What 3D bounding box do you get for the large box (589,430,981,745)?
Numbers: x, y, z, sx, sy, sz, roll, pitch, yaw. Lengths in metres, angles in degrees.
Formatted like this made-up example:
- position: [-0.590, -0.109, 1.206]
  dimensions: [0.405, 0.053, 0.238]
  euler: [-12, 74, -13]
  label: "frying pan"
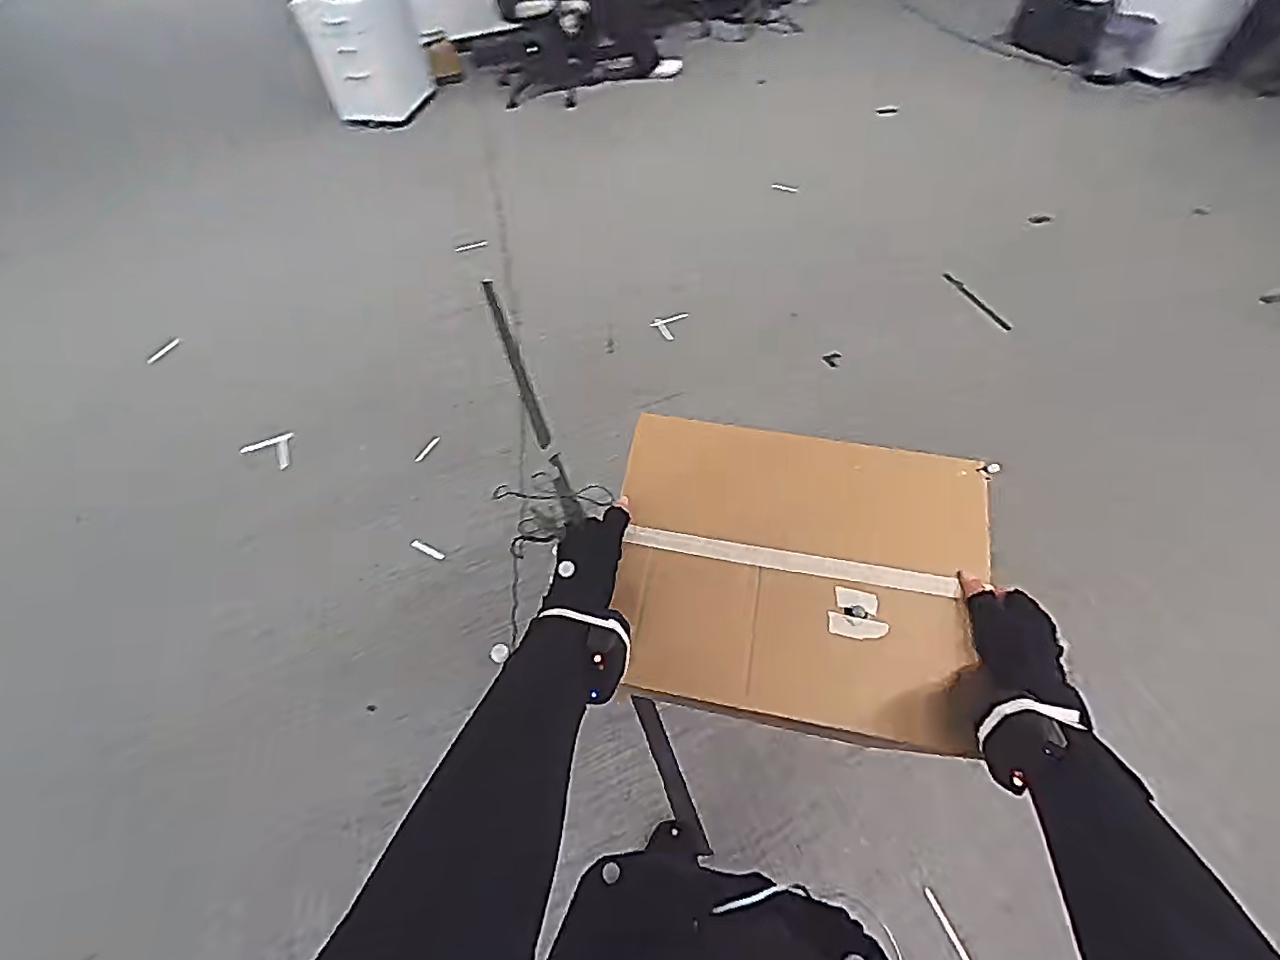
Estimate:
- position: [0.168, 0.157, 0.742]
  dimensions: [0.408, 0.320, 0.320]
  euler: [8, 68, 6]
  label: "large box"
